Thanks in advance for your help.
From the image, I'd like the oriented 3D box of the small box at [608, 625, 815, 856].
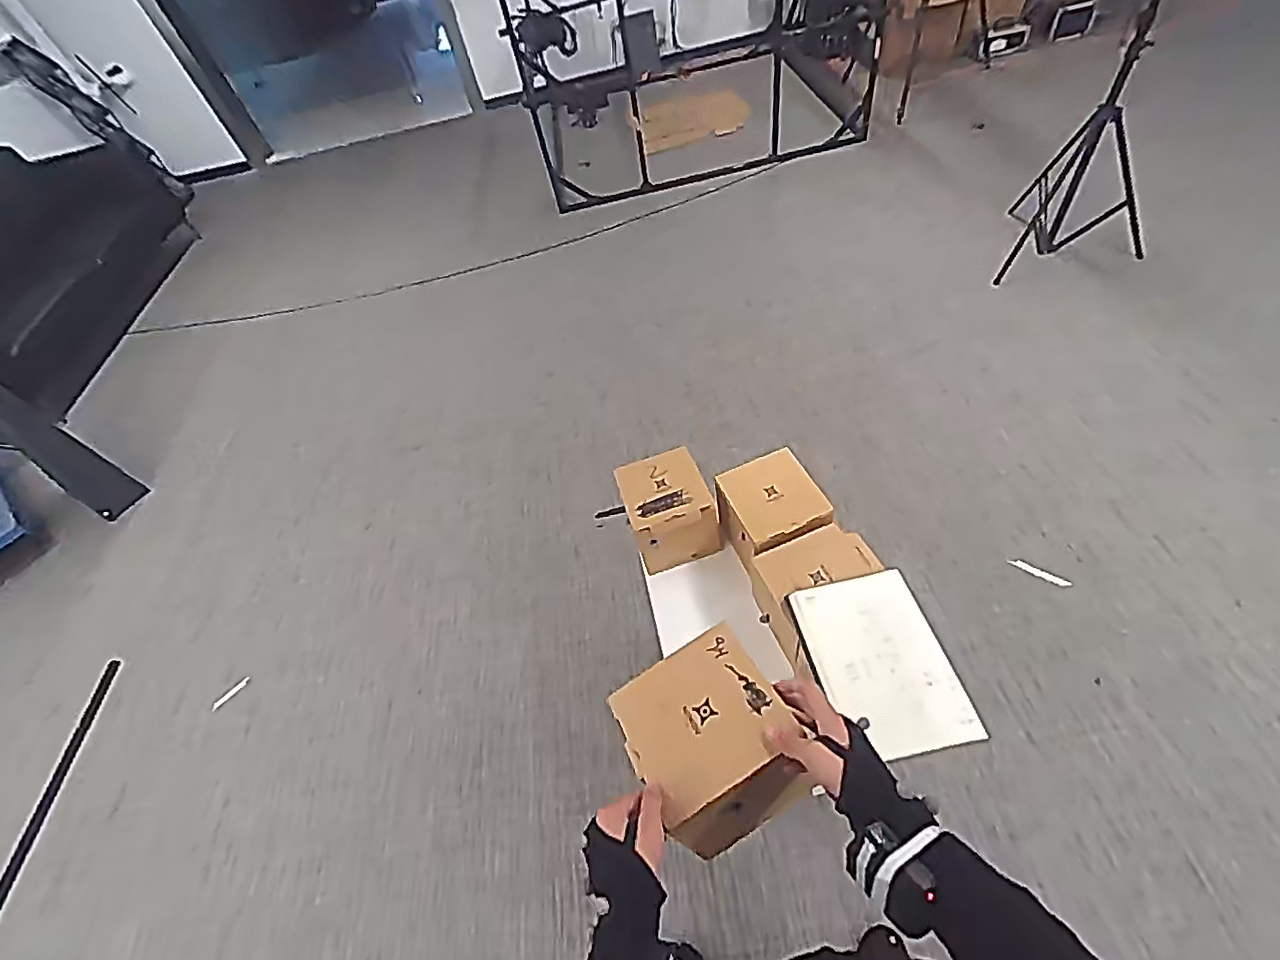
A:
[{"bbox_3d":[0.092,0.322,0.664,0.179,0.176,0.168,-32,43,-5],"label":"small box"}]
